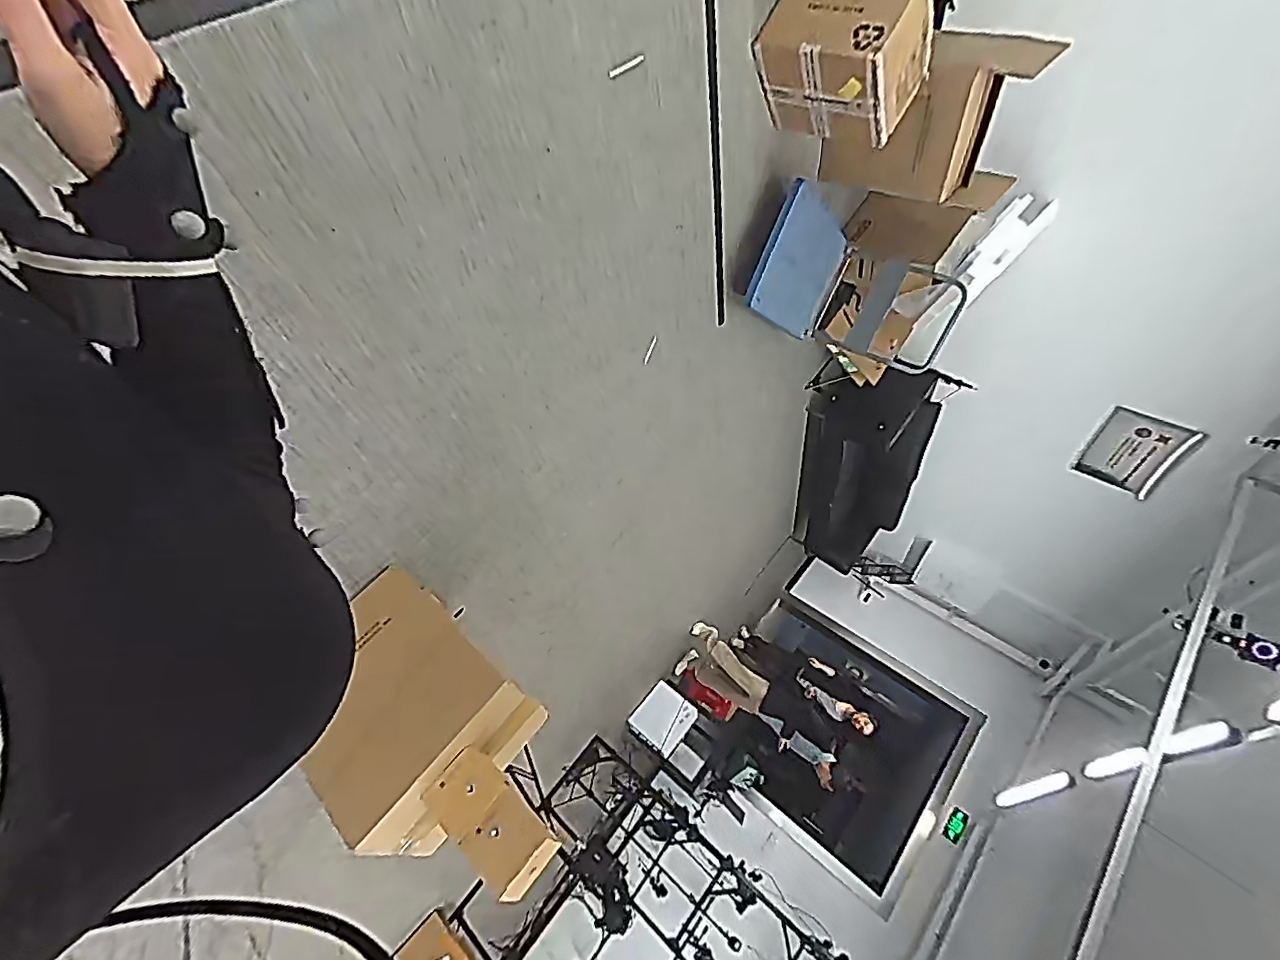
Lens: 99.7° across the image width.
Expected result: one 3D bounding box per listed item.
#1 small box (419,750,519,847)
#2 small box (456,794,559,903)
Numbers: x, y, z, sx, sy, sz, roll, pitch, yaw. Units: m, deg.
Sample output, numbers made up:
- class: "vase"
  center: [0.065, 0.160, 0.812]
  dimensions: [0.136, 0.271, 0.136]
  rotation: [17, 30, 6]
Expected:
- class: "small box"
  center: [-0.466, 0.874, 1.478]
  dimensions: [0.168, 0.176, 0.179]
  rotation: [-46, 150, -24]
- class: "small box"
  center: [-0.341, 0.954, 1.405]
  dimensions: [0.168, 0.176, 0.179]
  rotation: [-46, 149, -26]
